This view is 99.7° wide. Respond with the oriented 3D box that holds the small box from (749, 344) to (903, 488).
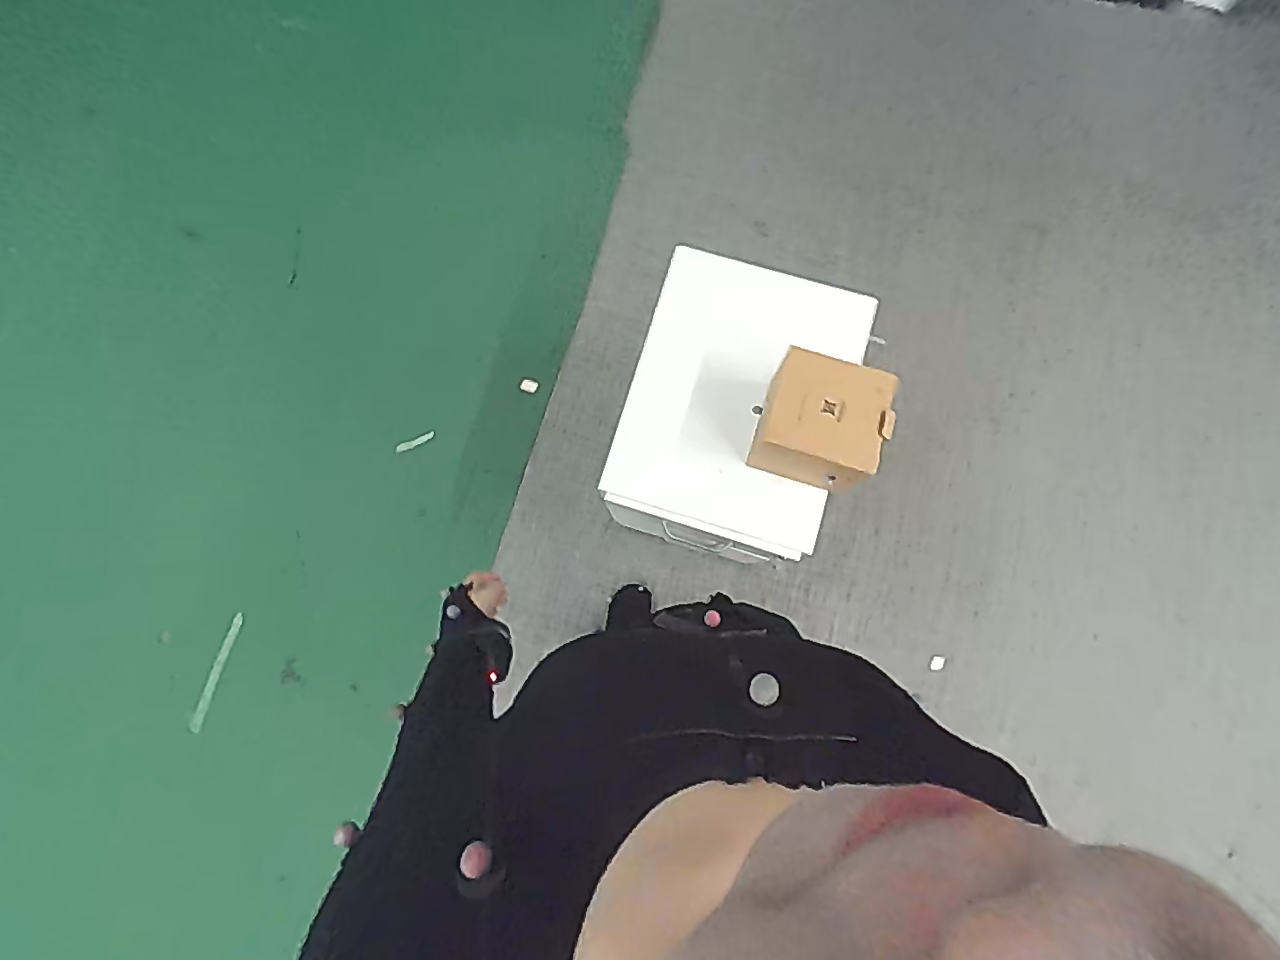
[{"bbox_3d":[0.297,-0.095,0.894,0.179,0.176,0.168,17,79,5],"label":"small box"}]
